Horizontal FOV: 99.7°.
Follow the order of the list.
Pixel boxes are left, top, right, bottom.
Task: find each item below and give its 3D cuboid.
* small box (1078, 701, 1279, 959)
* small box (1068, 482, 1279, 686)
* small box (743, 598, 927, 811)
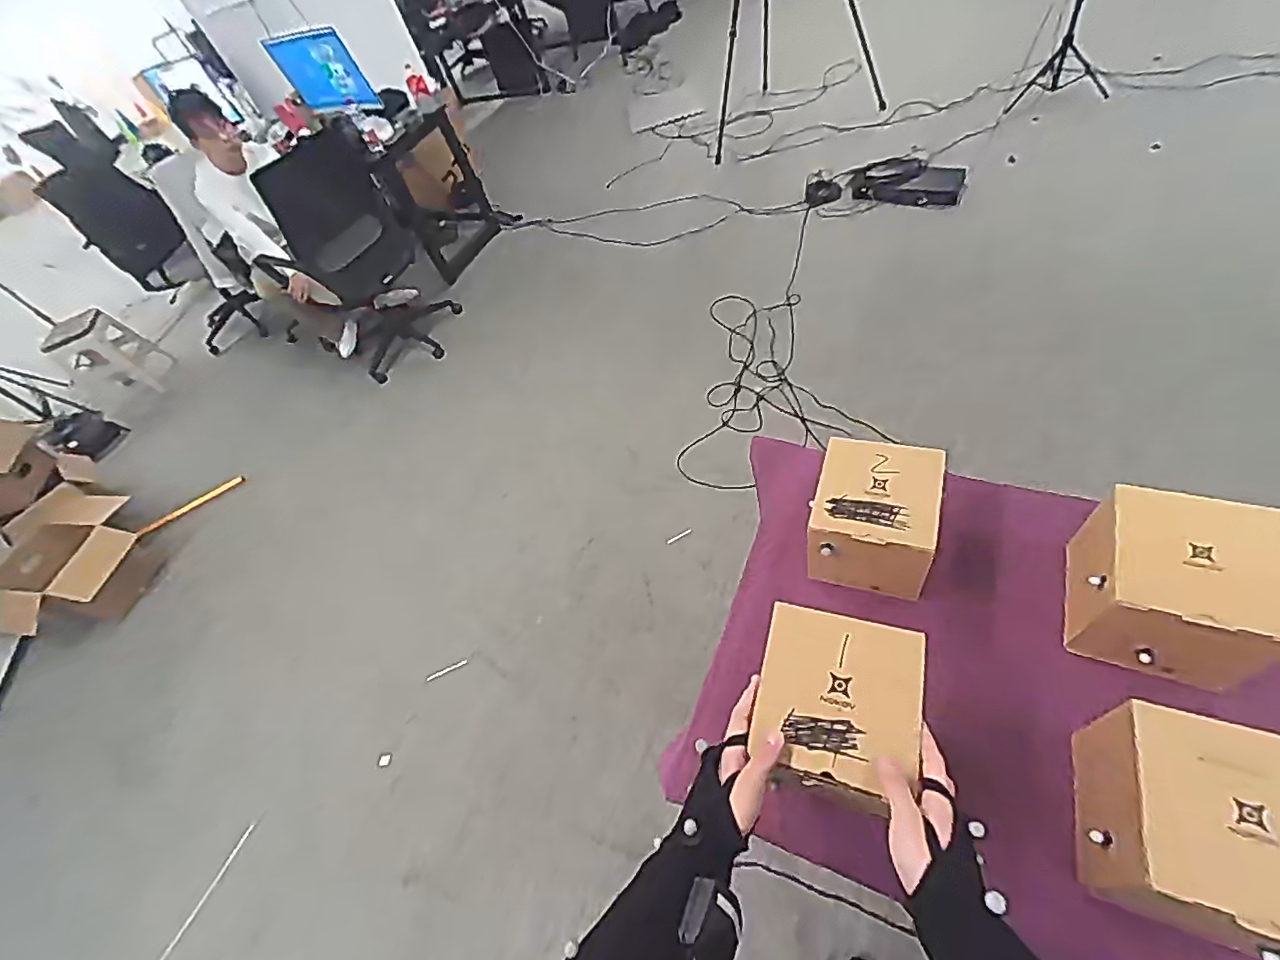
[{"bbox_3d":[0.576,0.357,0.549,0.168,0.176,0.179,10,57,24],"label":"small box"},{"bbox_3d":[0.673,0.132,0.685,0.168,0.176,0.179,12,61,25],"label":"small box"},{"bbox_3d":[0.226,0.268,0.639,0.168,0.176,0.179,10,59,20],"label":"small box"}]
